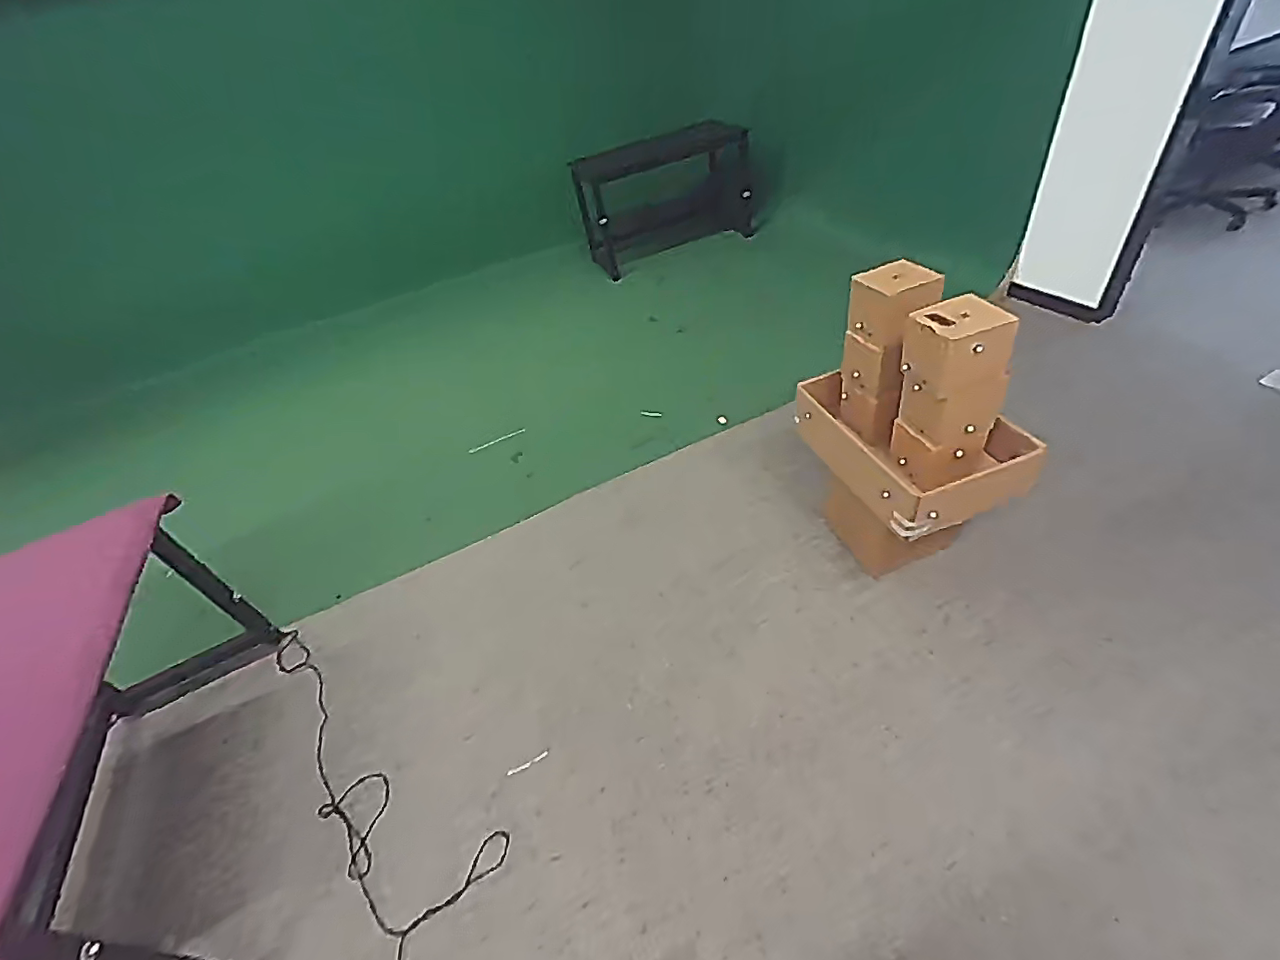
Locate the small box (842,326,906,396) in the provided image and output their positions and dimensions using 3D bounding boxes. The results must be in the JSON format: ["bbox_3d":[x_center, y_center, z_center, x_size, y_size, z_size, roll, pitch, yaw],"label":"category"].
[{"bbox_3d":[0.738,-0.385,1.646,0.179,0.176,0.168,-22,43,-9],"label":"small box"}]

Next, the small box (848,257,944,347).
[{"bbox_3d":[0.719,-0.507,1.541,0.179,0.176,0.168,-20,43,-9],"label":"small box"}]

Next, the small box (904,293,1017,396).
[{"bbox_3d":[0.783,-0.334,1.347,0.179,0.176,0.168,-18,43,-4],"label":"small box"}]

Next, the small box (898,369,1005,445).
[{"bbox_3d":[0.829,-0.222,1.461,0.179,0.176,0.168,-18,43,-6],"label":"small box"}]
